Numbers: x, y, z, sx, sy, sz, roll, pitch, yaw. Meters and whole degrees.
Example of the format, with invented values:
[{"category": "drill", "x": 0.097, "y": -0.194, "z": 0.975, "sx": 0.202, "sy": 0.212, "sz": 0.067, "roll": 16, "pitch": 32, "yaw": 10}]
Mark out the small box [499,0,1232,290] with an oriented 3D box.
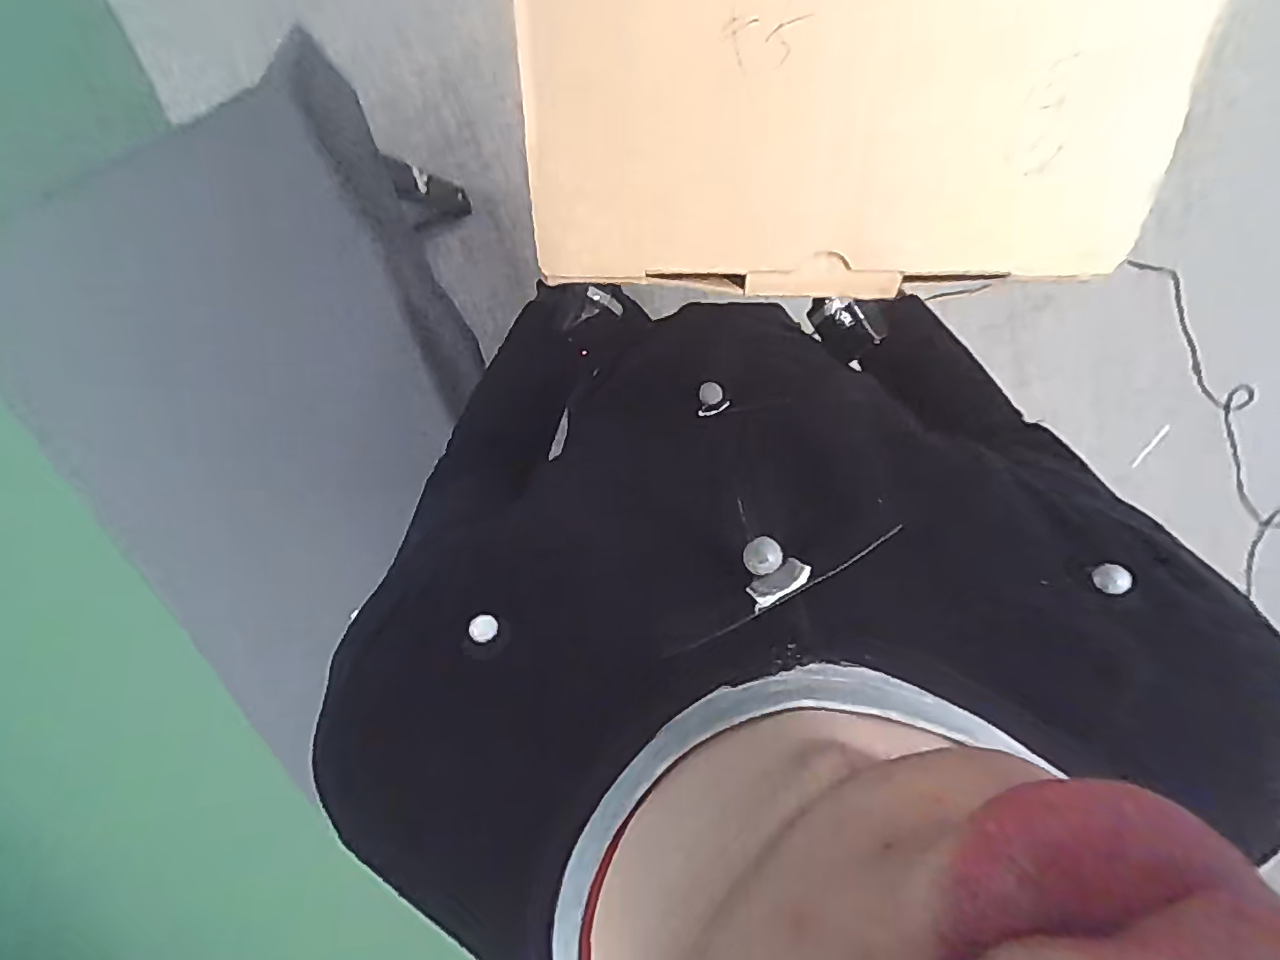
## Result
[{"category": "small box", "x": 0.052, "y": -0.171, "z": 0.178, "sx": 0.168, "sy": 0.176, "sz": 0.179, "roll": 1, "pitch": 120, "yaw": 0}]
